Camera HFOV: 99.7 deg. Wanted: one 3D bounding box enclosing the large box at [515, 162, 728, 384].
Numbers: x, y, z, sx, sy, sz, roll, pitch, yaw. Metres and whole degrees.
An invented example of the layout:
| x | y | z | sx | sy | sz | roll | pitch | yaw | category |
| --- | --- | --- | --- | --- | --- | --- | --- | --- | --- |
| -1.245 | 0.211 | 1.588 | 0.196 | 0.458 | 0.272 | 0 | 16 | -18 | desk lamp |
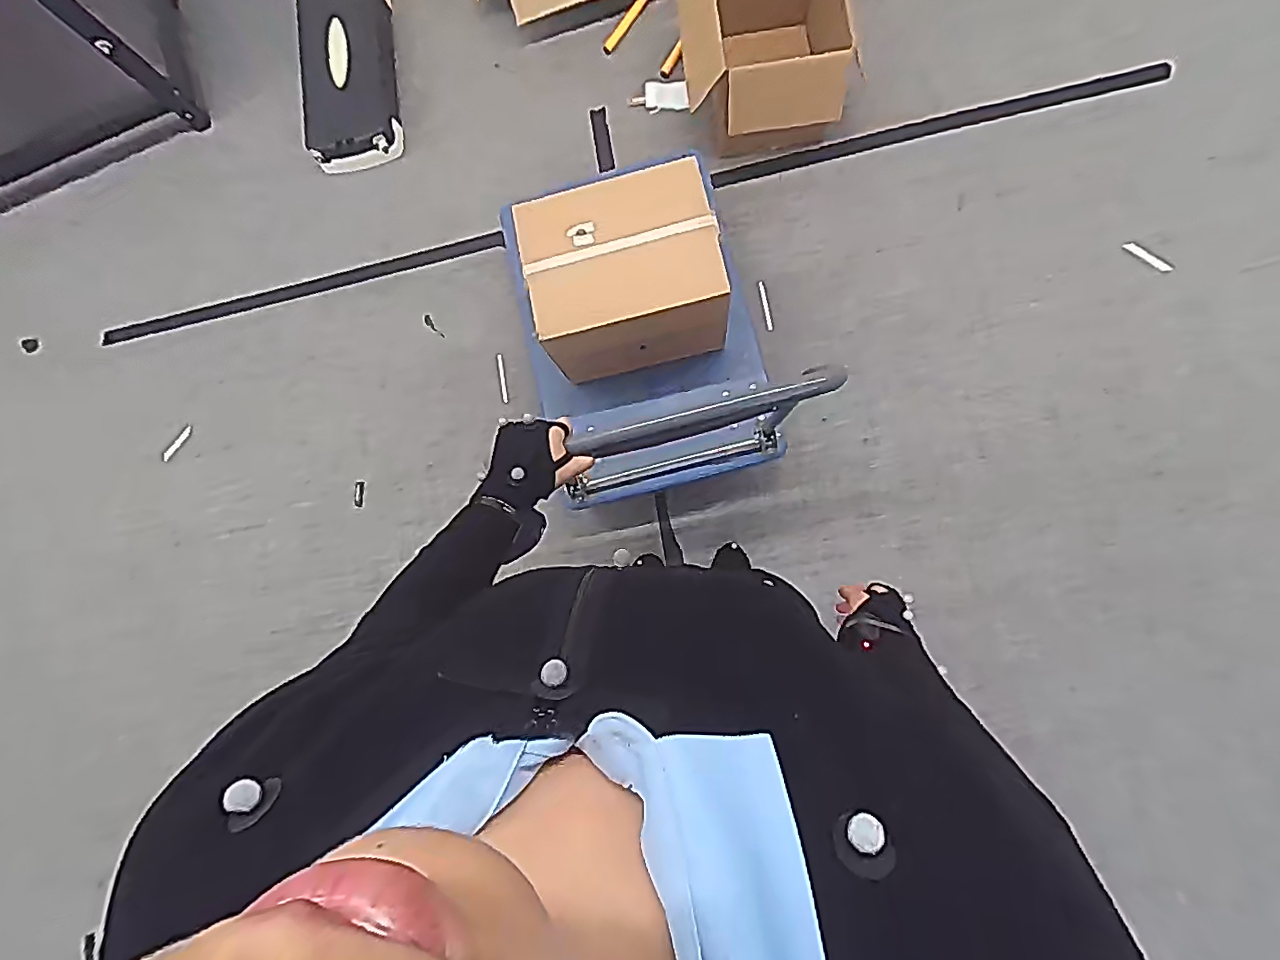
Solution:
| x | y | z | sx | sy | sz | roll | pitch | yaw | category |
| --- | --- | --- | --- | --- | --- | --- | --- | --- | --- |
| -0.028 | -0.457 | 1.274 | 0.408 | 0.320 | 0.320 | -13 | 80 | 5 | large box |
